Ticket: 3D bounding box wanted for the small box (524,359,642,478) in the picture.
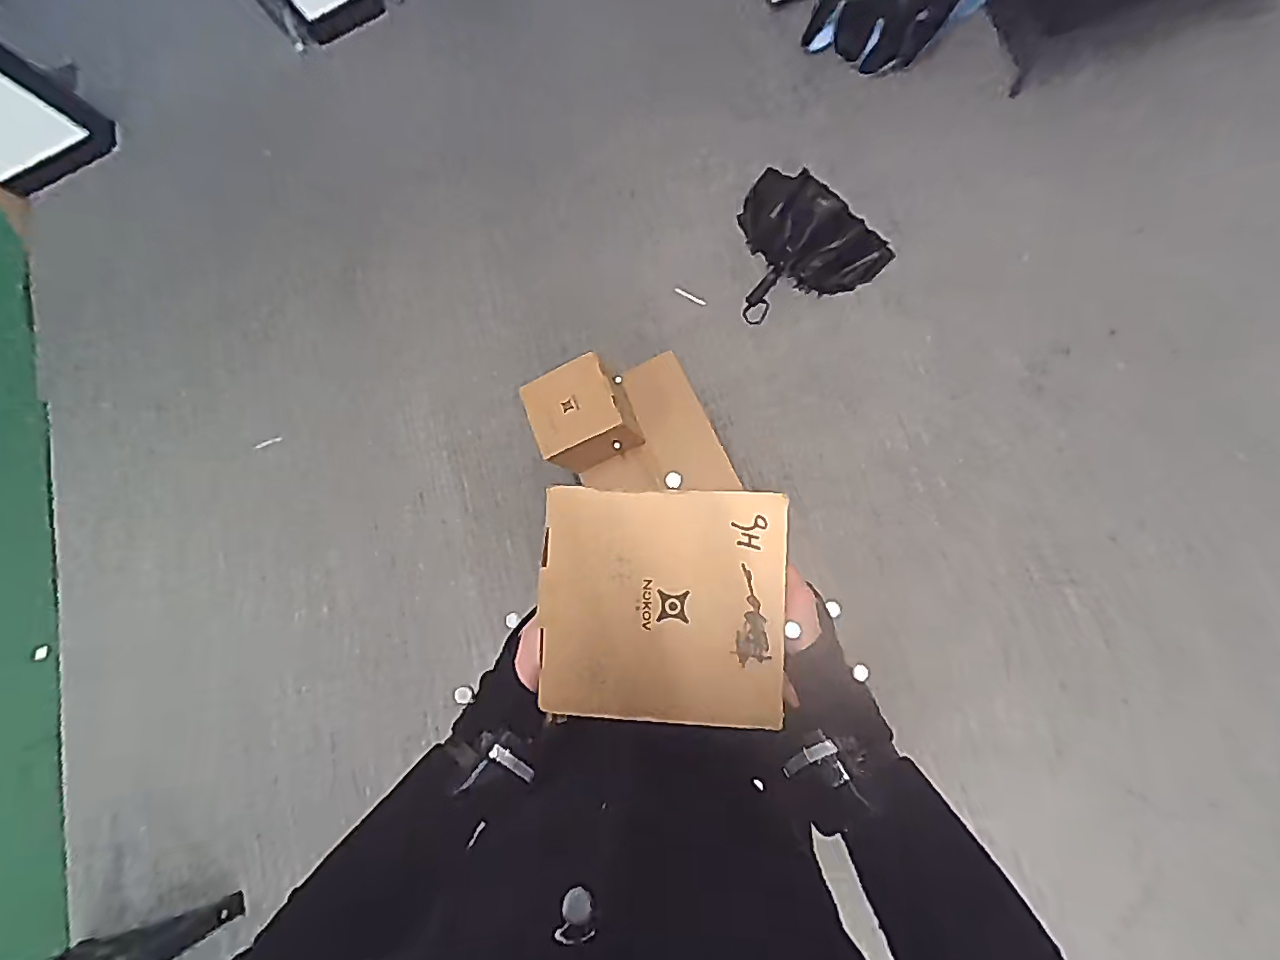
[{"bbox_3d":[-0.108,-0.119,1.127,0.179,0.176,0.168,-25,74,12],"label":"small box"}]
